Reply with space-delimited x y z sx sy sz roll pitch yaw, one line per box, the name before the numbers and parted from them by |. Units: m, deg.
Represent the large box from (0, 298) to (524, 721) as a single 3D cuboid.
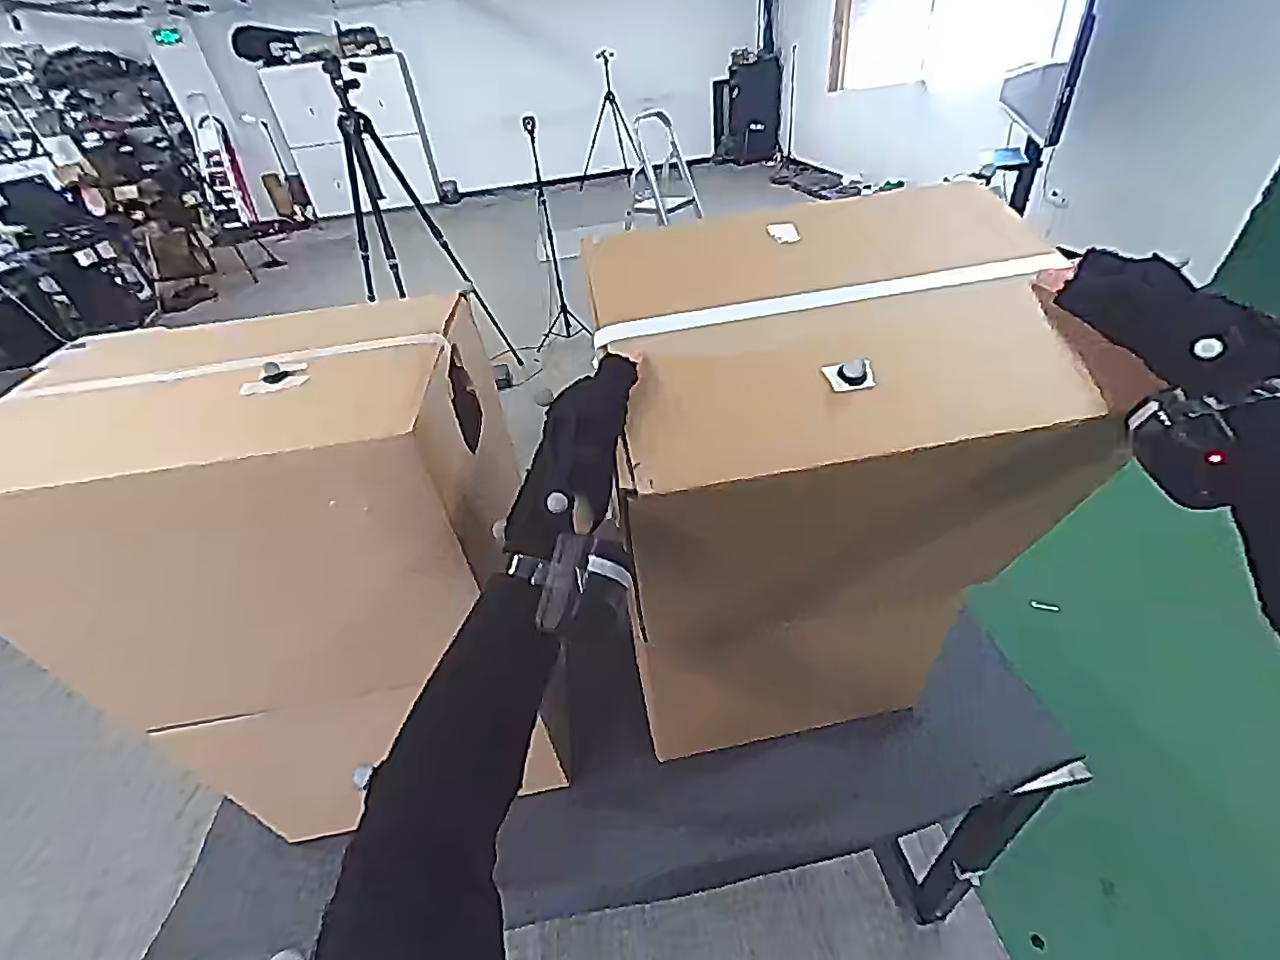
large box | -0.363 0.020 0.605 0.408 0.320 0.320 -8 39 -4
